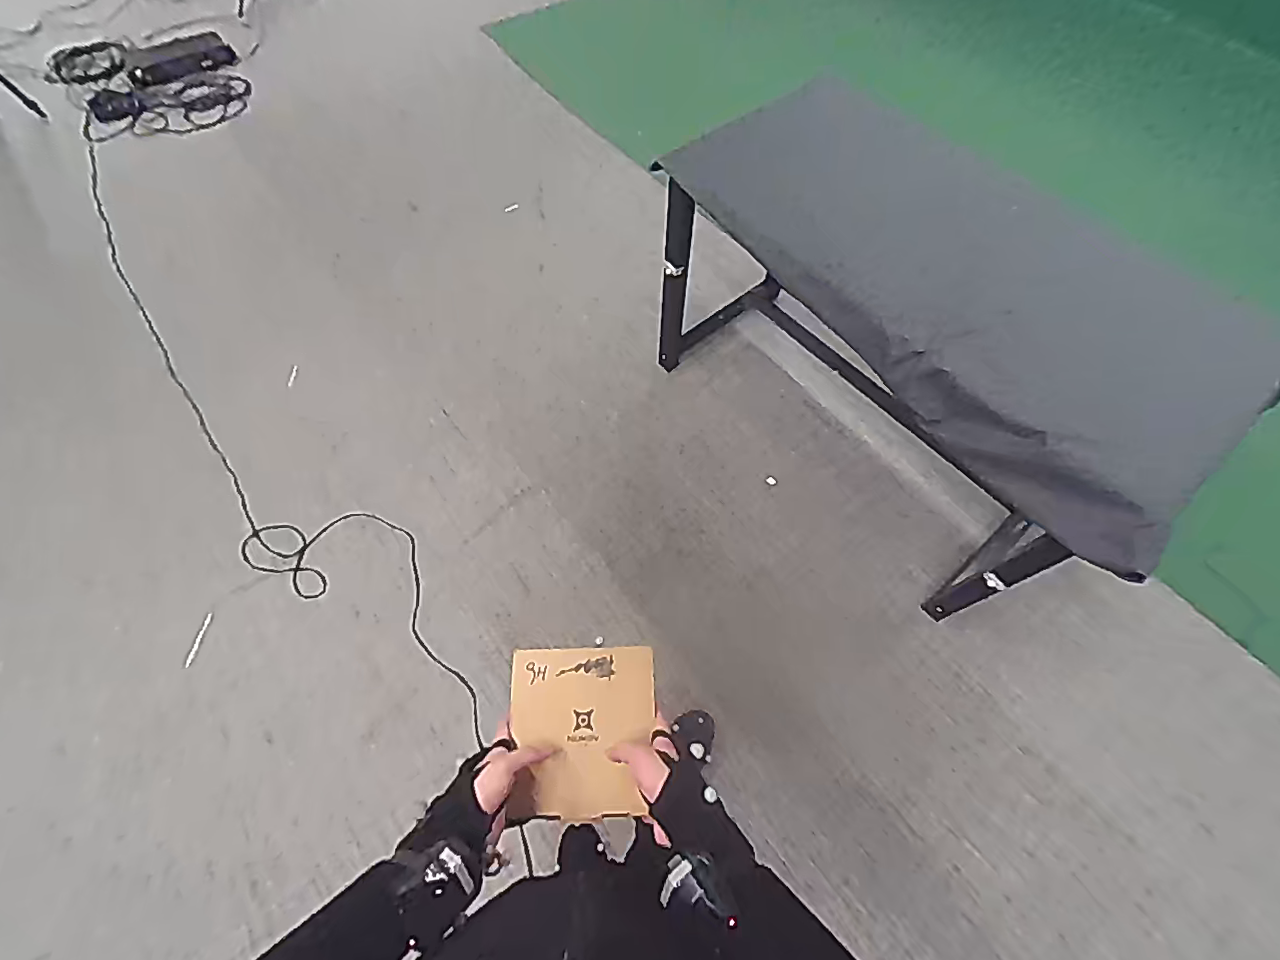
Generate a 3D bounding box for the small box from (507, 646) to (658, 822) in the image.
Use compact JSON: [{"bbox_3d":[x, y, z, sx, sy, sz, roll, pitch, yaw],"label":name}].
[{"bbox_3d":[-0.062,0.300,0.672,0.168,0.176,0.179,-2,72,-1],"label":"small box"}]
